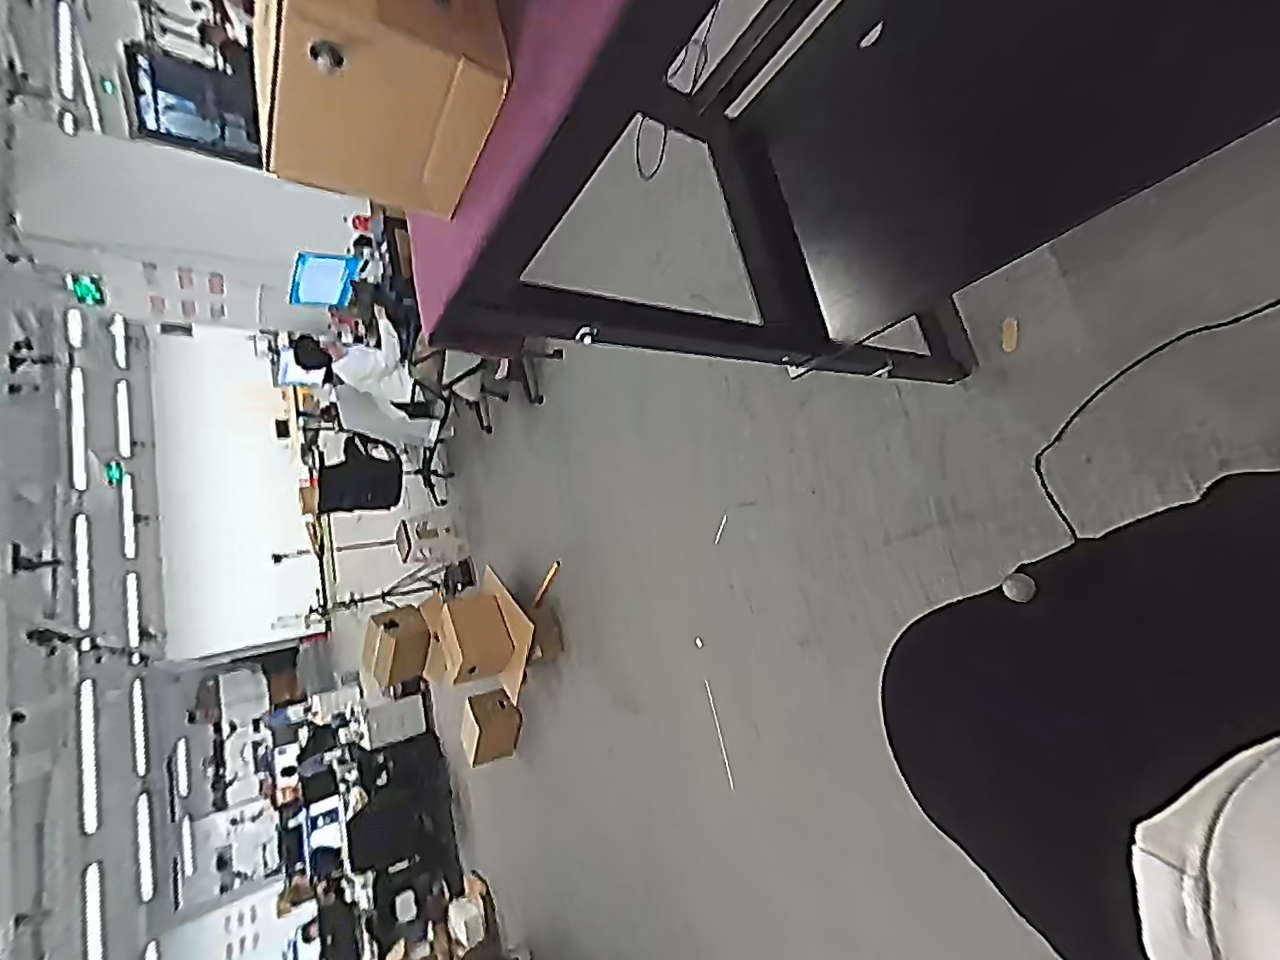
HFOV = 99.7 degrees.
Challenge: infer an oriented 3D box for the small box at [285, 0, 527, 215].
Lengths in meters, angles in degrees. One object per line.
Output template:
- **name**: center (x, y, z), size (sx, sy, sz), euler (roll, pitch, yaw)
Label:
- **small box**: center (-0.224, -0.386, 0.507), size (0.179, 0.176, 0.168), euler (-31, 68, 49)
